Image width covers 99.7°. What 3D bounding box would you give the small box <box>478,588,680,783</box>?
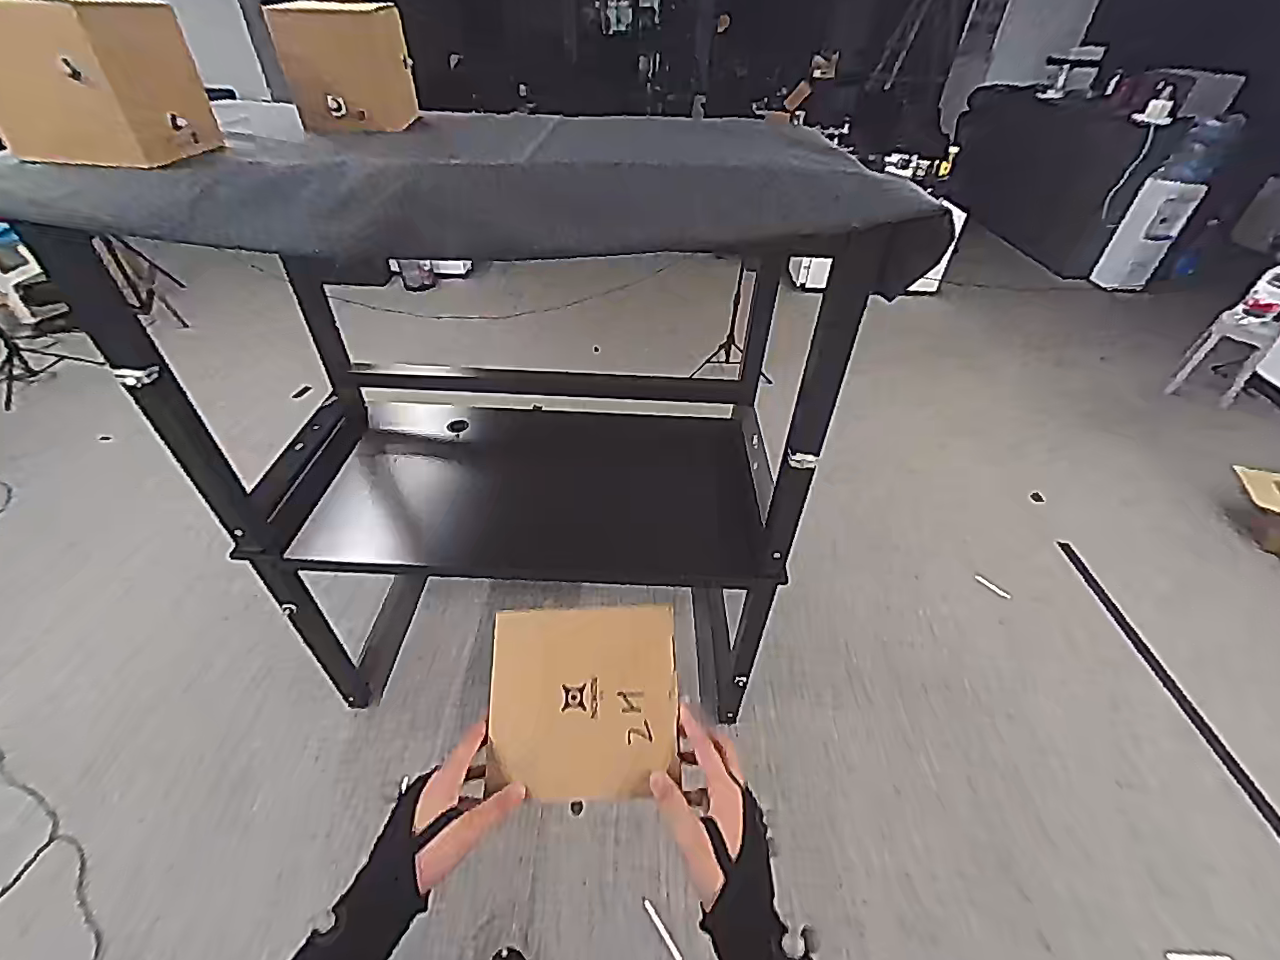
[{"bbox_3d":[-0.050,0.212,0.560,0.179,0.176,0.168,-3,68,1],"label":"small box"}]

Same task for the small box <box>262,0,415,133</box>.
[{"bbox_3d":[-0.509,-0.724,0.948,0.168,0.176,0.179,-3,42,-5],"label":"small box"}]
